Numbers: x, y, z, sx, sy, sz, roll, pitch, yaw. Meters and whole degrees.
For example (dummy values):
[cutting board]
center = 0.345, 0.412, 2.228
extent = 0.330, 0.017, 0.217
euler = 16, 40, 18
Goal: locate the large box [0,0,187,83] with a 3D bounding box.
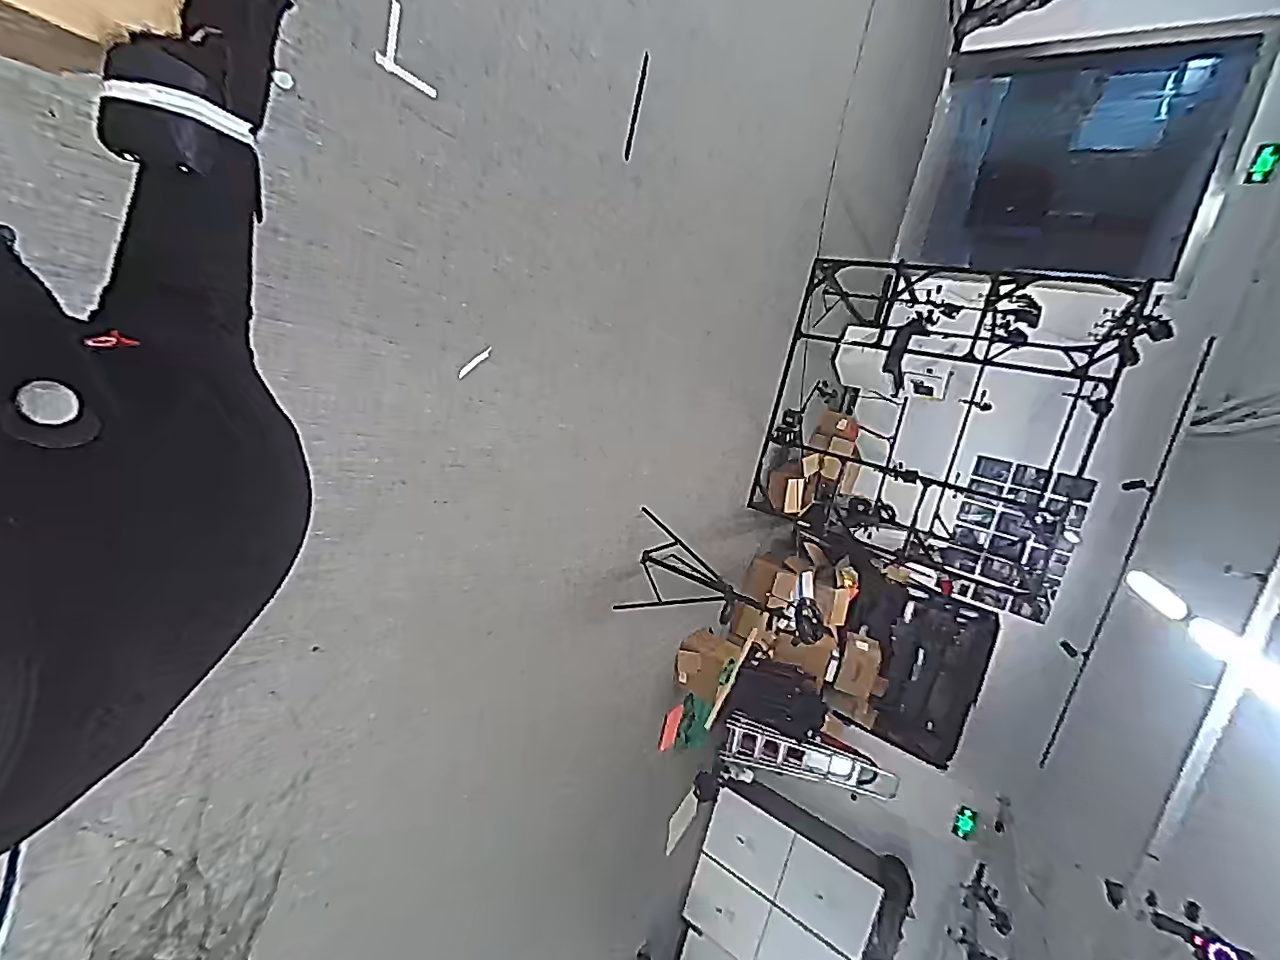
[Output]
[large box]
center = -0.505, -0.456, 0.243
extent = 0.408, 0.320, 0.320
euler = -7, 119, -58
